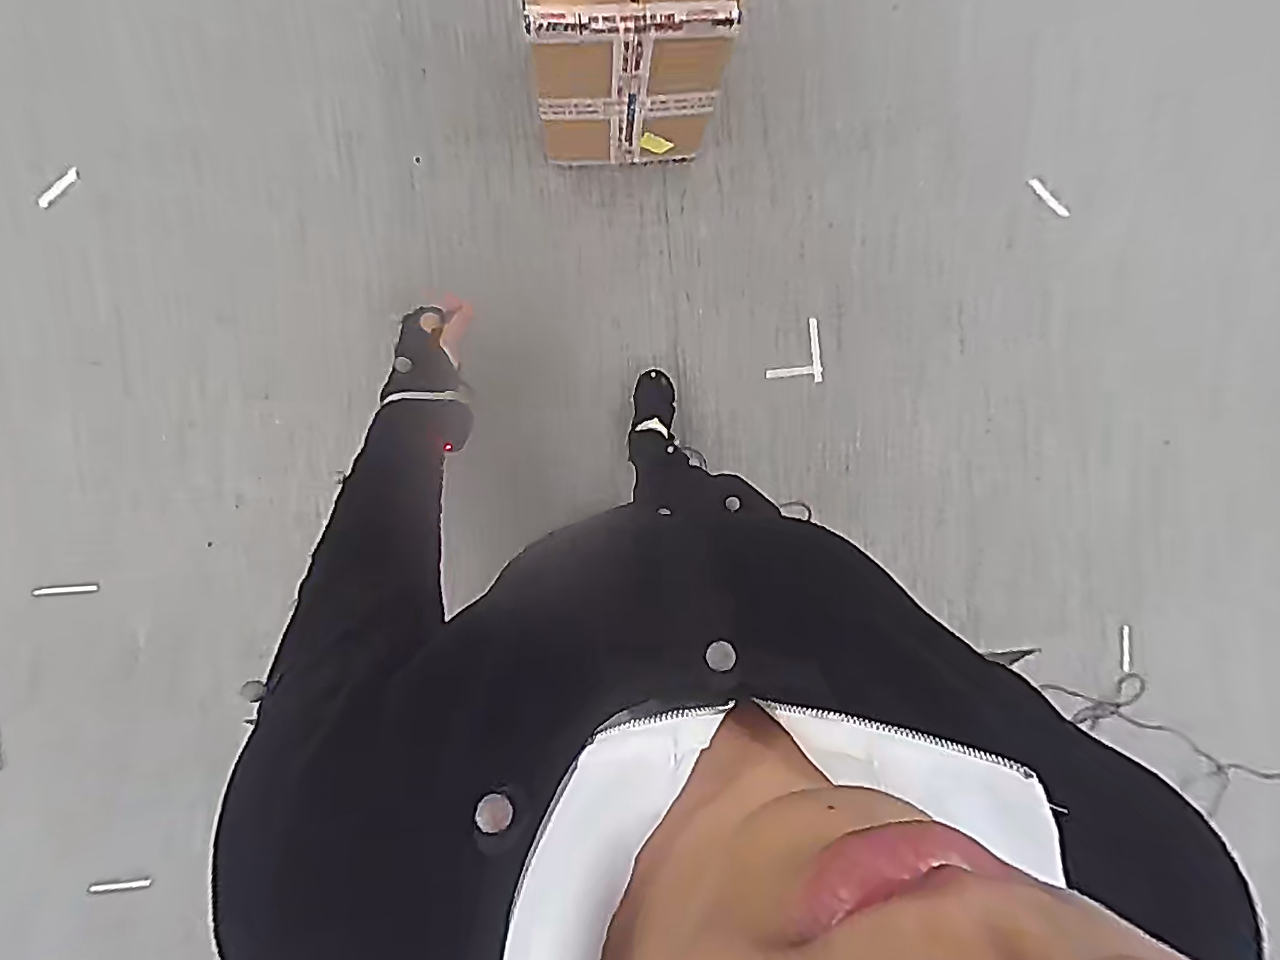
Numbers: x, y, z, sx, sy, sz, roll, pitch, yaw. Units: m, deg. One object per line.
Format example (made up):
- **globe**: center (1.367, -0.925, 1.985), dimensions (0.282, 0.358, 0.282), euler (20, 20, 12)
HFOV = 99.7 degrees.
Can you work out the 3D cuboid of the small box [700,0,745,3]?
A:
- **small box**: center (0.124, -0.936, 0.878), dimensions (0.168, 0.176, 0.179), euler (-4, 95, -5)
